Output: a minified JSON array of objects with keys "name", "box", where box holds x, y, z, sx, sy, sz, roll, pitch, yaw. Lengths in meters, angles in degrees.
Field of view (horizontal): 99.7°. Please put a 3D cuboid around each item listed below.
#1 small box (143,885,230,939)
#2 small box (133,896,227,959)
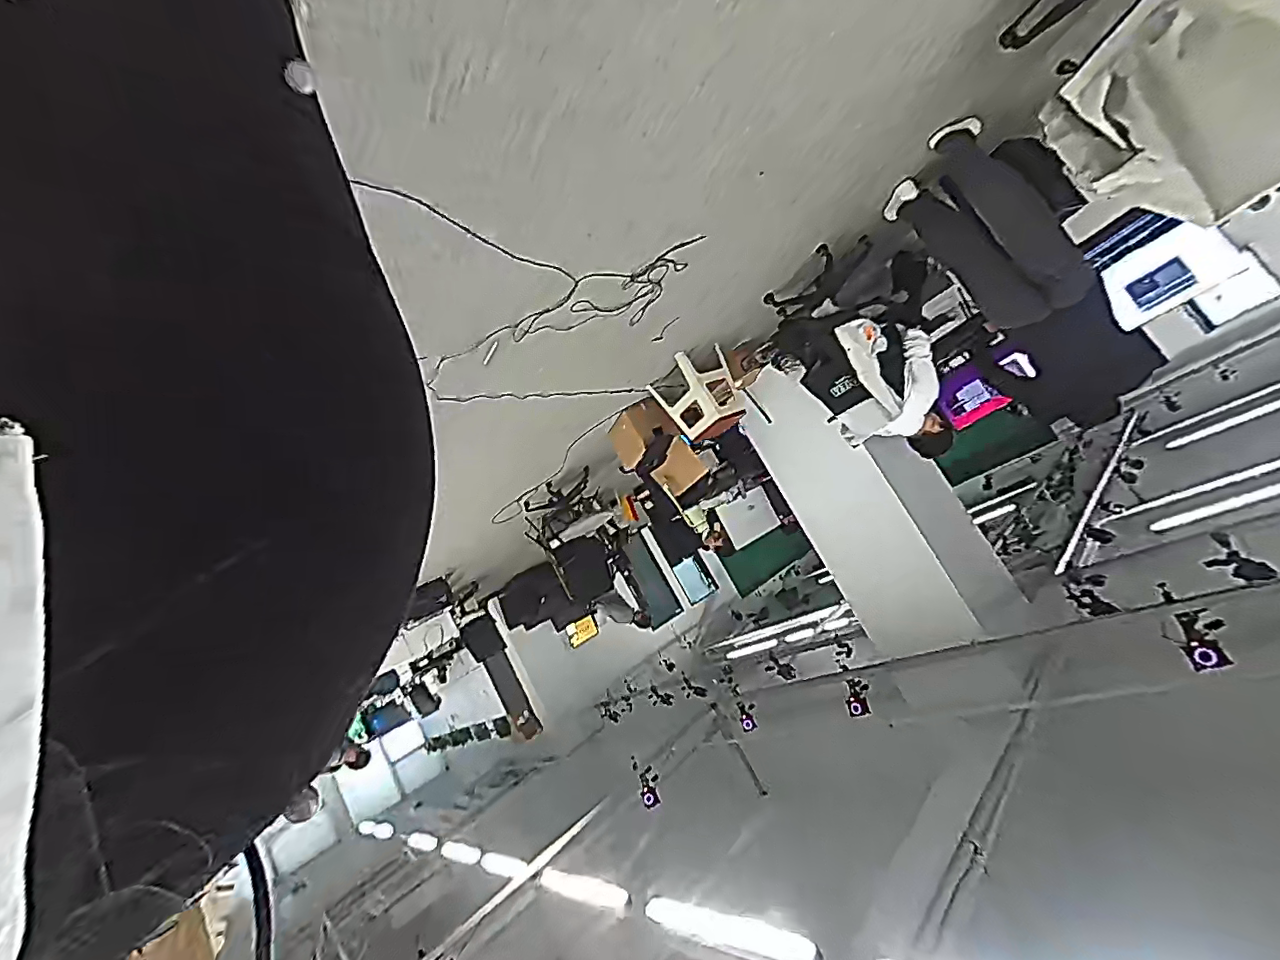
[{"name":"small box","box":[-1.479,1.473,1.769,0.168,0.176,0.179,-23,170,-35]},{"name":"small box","box":[-1.356,1.378,1.601,0.168,0.176,0.179,-20,165,-36]}]
